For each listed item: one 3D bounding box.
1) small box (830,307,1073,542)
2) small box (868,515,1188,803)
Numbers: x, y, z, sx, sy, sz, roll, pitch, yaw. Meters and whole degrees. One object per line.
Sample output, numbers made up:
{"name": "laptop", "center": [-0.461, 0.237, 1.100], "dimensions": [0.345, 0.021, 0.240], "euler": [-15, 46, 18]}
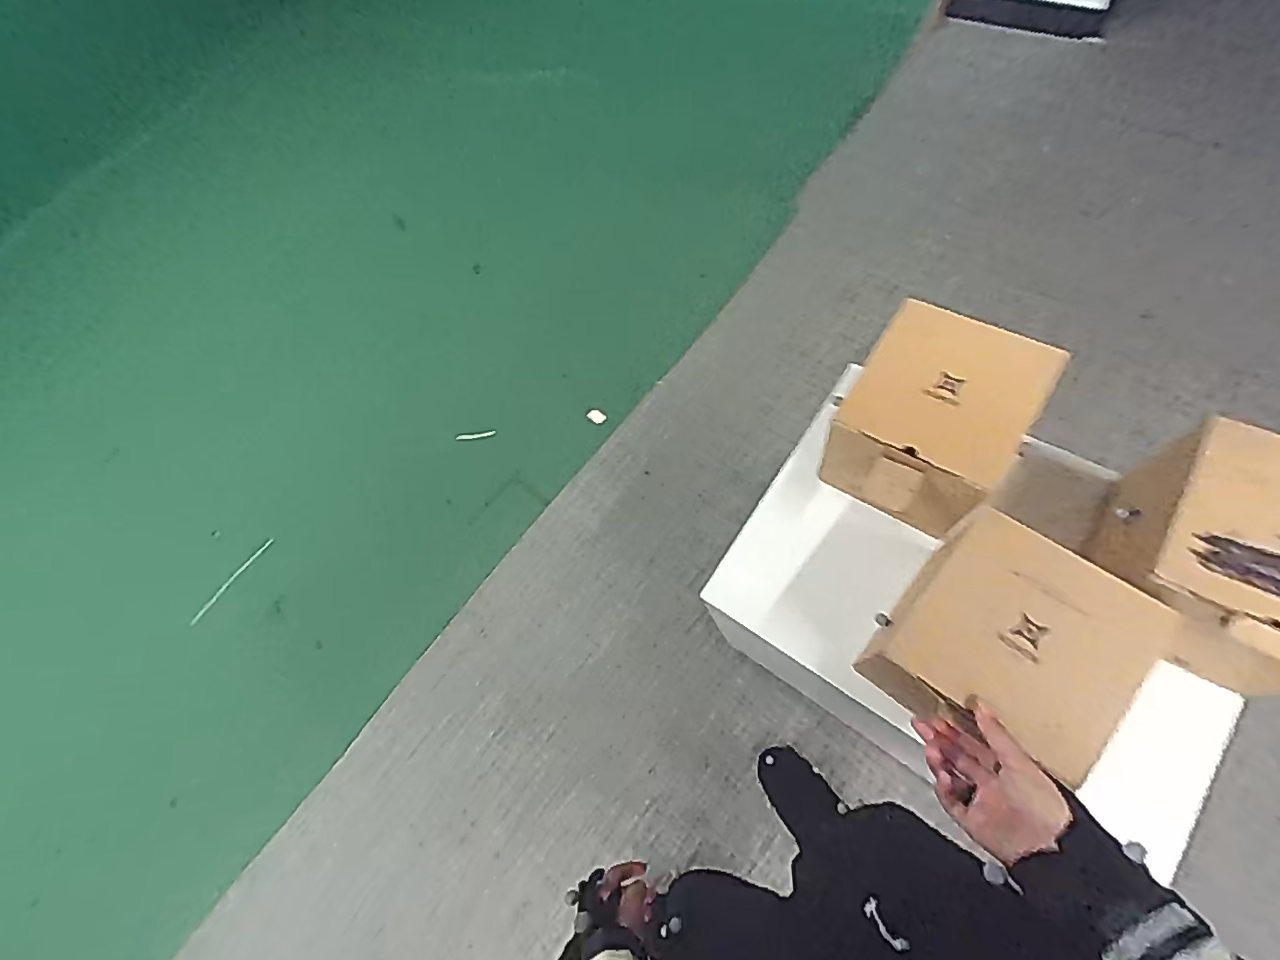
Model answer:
{"name": "small box", "center": [0.336, -0.056, 0.623], "dimensions": [0.168, 0.176, 0.179], "euler": [31, 79, 22]}
{"name": "small box", "center": [0.345, 0.170, 0.524], "dimensions": [0.168, 0.176, 0.179], "euler": [37, 78, 24]}
